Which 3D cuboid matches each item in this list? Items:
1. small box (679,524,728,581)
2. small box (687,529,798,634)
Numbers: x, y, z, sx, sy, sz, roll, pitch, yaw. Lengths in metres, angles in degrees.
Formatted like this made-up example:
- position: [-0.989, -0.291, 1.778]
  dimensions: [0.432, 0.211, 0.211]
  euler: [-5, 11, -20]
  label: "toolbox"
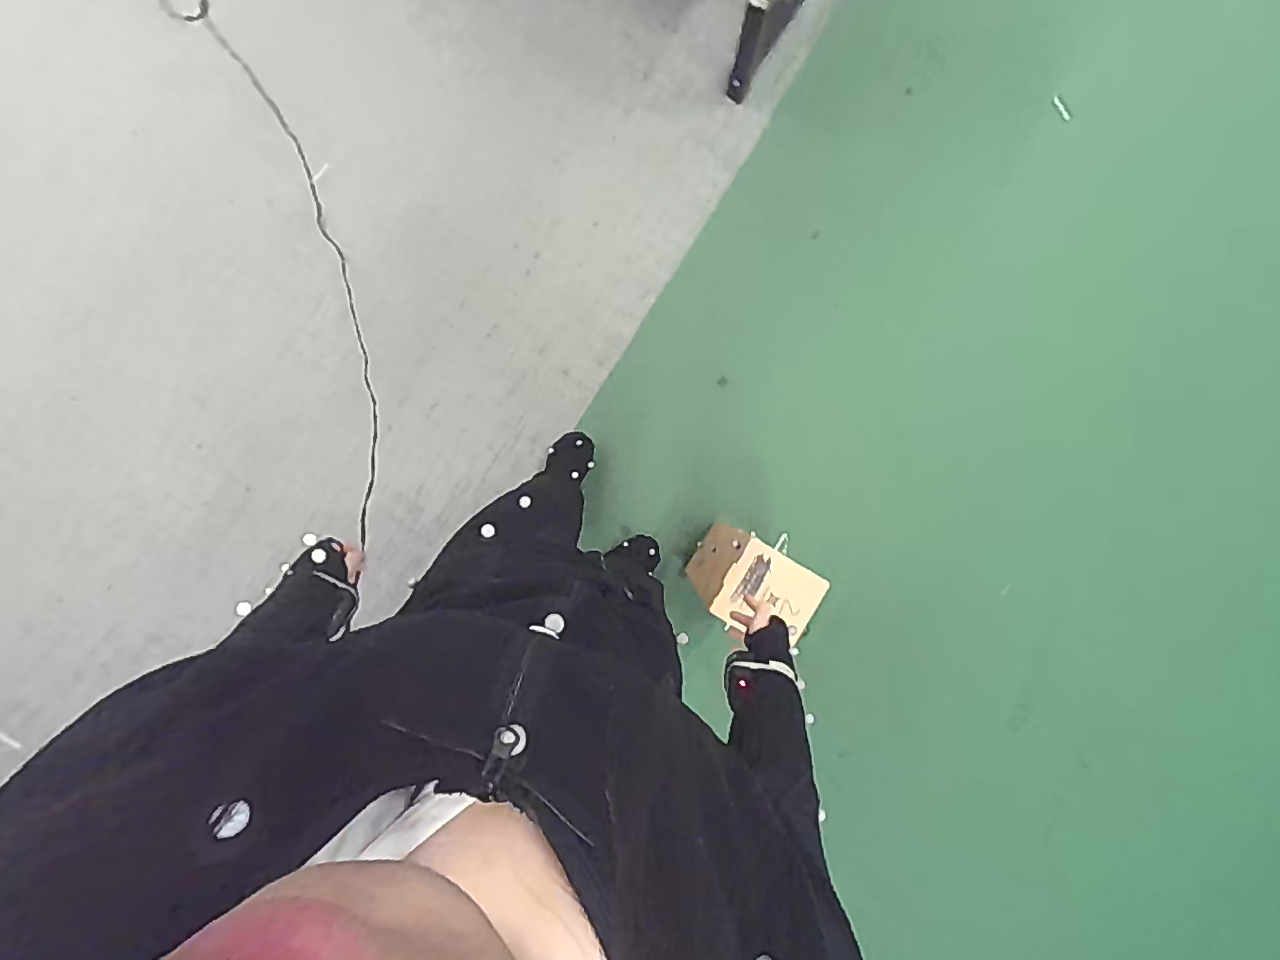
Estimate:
- position: [0.221, 0.225, 1.415]
  dimensions: [0.179, 0.176, 0.168]
  euler: [33, 87, -1]
  label: "small box"
- position: [0.228, 0.223, 1.253]
  dimensions: [0.179, 0.176, 0.168]
  euler: [32, 88, -1]
  label: "small box"
